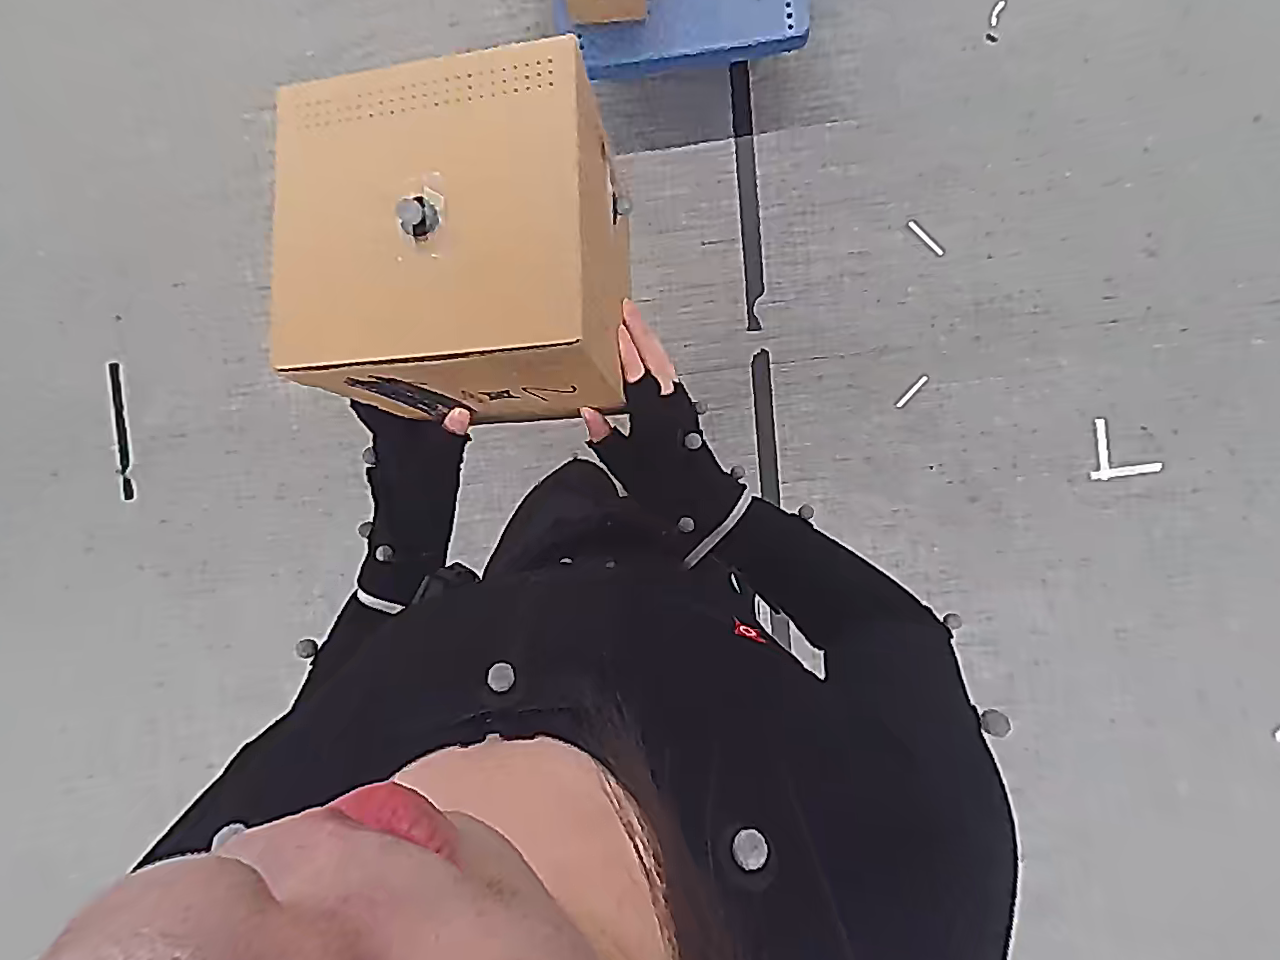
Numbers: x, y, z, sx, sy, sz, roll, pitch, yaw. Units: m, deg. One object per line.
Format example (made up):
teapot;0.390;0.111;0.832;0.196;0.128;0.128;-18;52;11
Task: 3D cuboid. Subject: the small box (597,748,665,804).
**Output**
small box;-0.019;0.858;1.467;0.168;0.176;0.179;-4;93;3

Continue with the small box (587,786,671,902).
small box;-0.022;0.868;1.305;0.179;0.176;0.168;-8;94;4

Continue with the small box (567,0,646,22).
small box;-0.077;-1.127;1.152;0.179;0.176;0.168;-1;93;4
